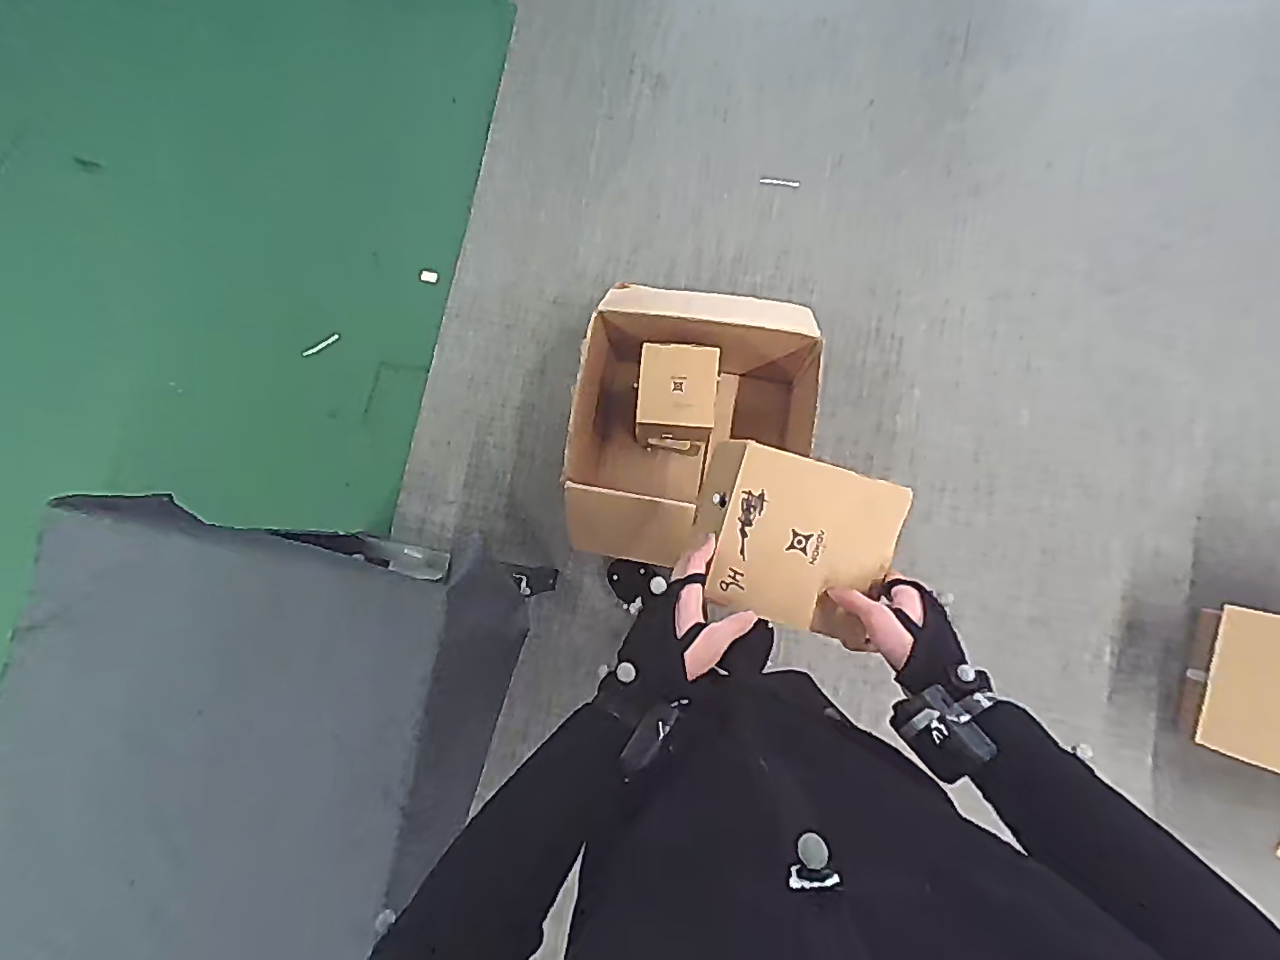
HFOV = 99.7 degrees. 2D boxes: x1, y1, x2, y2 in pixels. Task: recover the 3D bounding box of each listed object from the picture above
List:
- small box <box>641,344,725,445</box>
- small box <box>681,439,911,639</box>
[{"bbox_3d":[0.092,-0.184,1.203,0.168,0.176,0.179,4,84,3],"label":"small box"},{"bbox_3d":[0.159,0.054,0.612,0.179,0.176,0.168,17,92,-4],"label":"small box"}]
